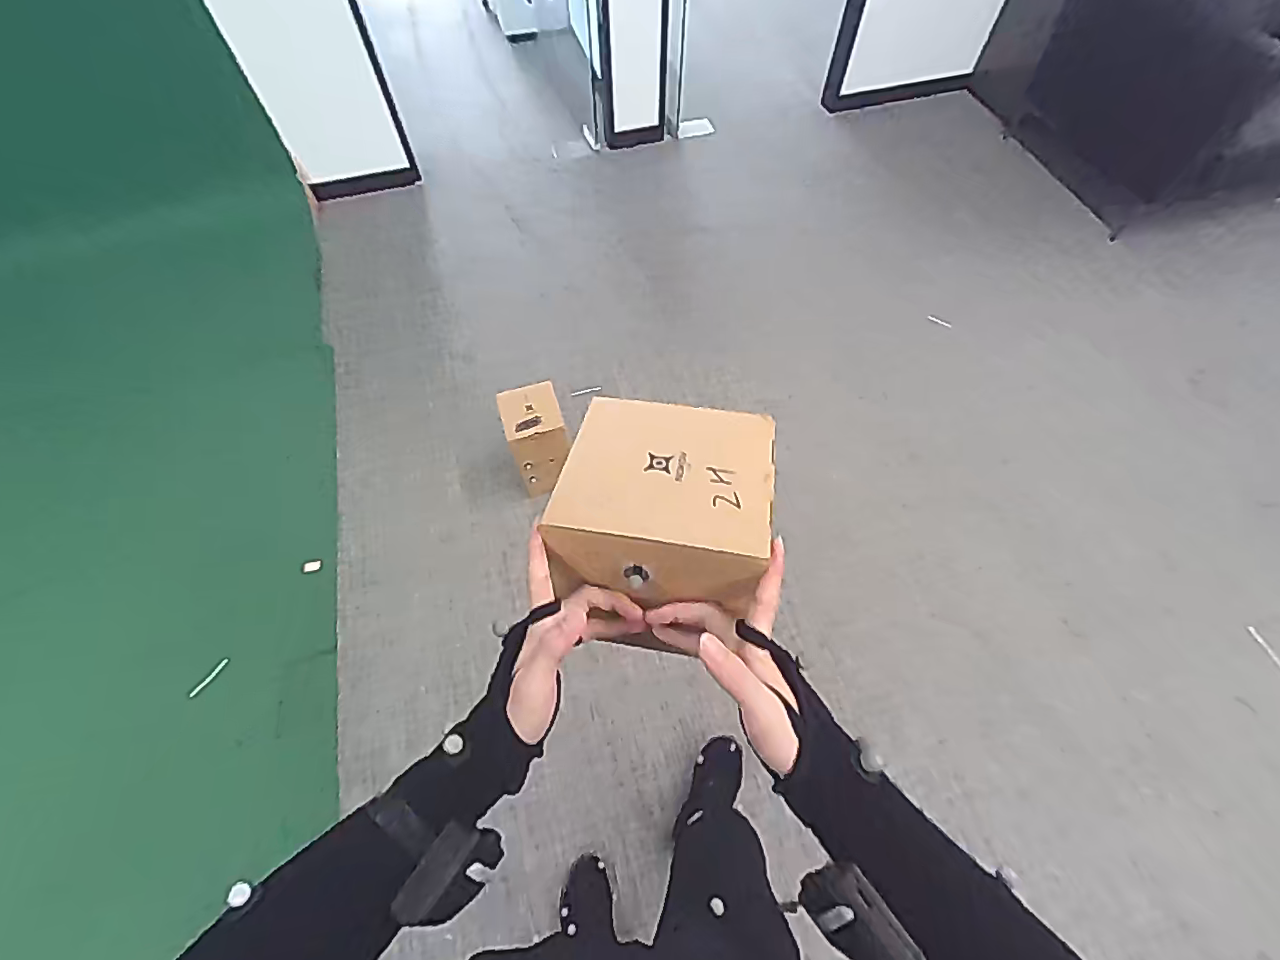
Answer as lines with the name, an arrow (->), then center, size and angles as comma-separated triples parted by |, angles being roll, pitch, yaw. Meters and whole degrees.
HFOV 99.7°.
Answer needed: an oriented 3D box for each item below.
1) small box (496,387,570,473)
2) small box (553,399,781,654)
small box -> -0.310, -0.140, 1.594 | 0.168, 0.176, 0.179 | -16, 60, -9
small box -> 0.031, 0.045, 0.520 | 0.179, 0.176, 0.168 | 9, 45, 8
